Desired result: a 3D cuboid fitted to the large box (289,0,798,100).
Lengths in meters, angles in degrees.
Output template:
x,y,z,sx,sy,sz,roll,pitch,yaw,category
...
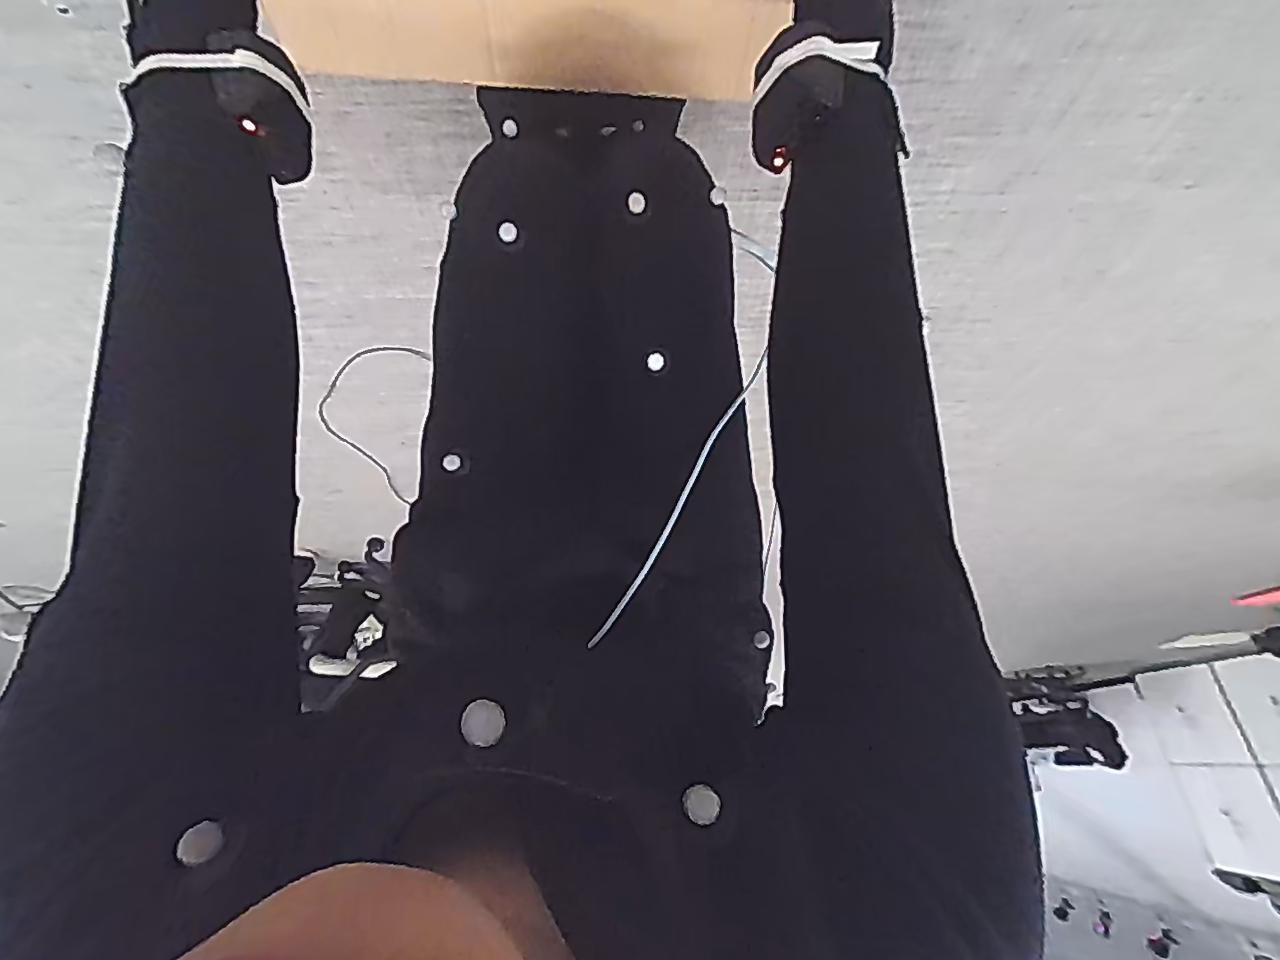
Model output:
x,y,z,sx,sy,sz,roll,pitch,yaw,category
-0.074,-0.546,0.414,0.408,0.320,0.320,0,153,-5,large box
